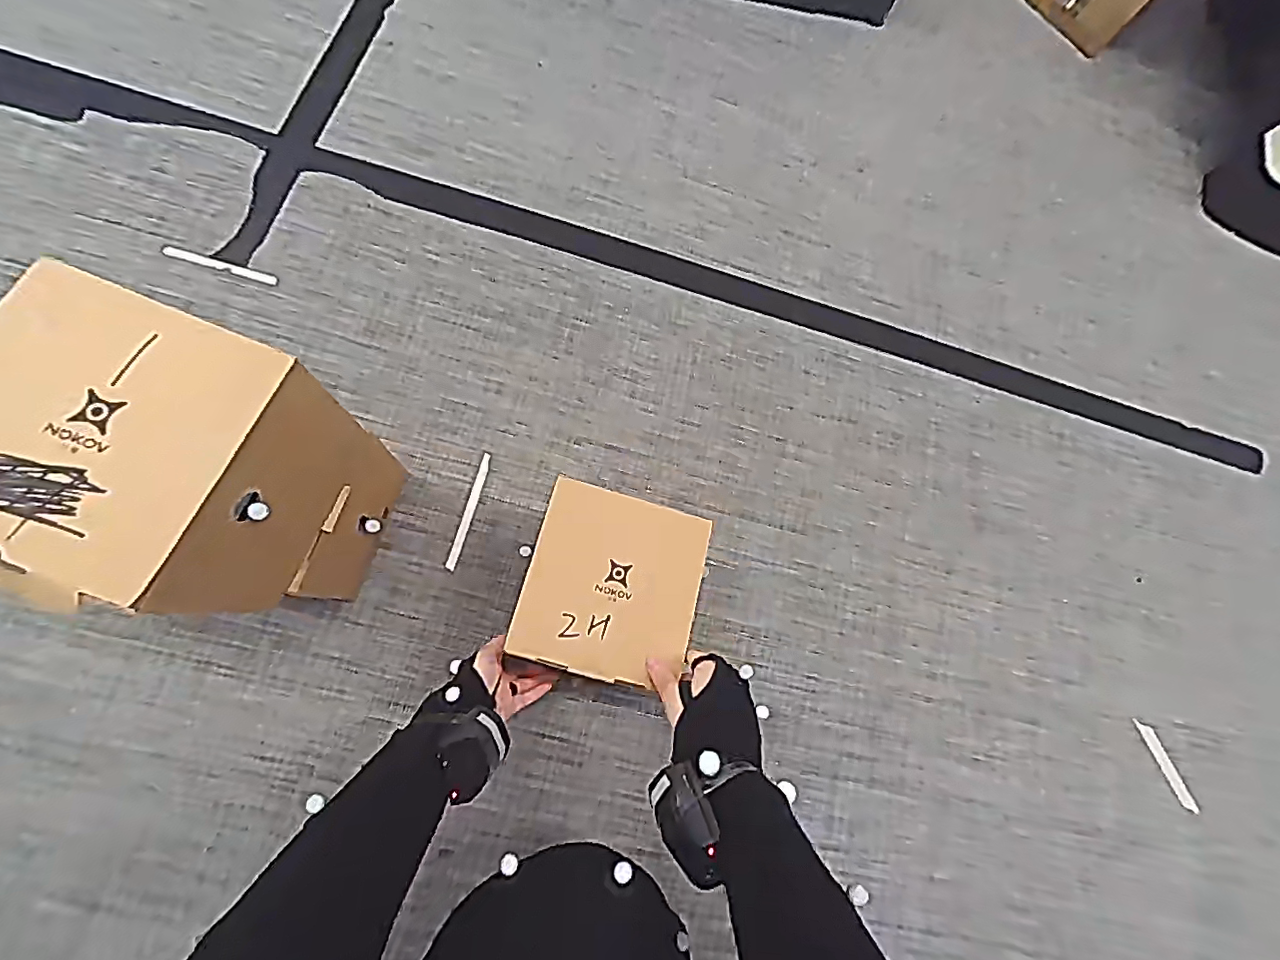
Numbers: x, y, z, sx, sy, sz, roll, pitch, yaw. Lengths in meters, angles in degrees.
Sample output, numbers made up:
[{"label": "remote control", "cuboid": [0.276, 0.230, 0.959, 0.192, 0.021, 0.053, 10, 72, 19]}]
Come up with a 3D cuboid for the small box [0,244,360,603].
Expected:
[{"label": "small box", "cuboid": [-0.337, -0.020, 0.393, 0.168, 0.176, 0.179, 23, 73, -5]}]

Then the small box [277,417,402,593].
[{"label": "small box", "cuboid": [-0.370, 0.011, 0.552, 0.179, 0.176, 0.168, 19, 74, -7]}]

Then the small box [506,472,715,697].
[{"label": "small box", "cuboid": [-0.038, 0.116, 0.585, 0.168, 0.176, 0.179, 18, 72, -6]}]
